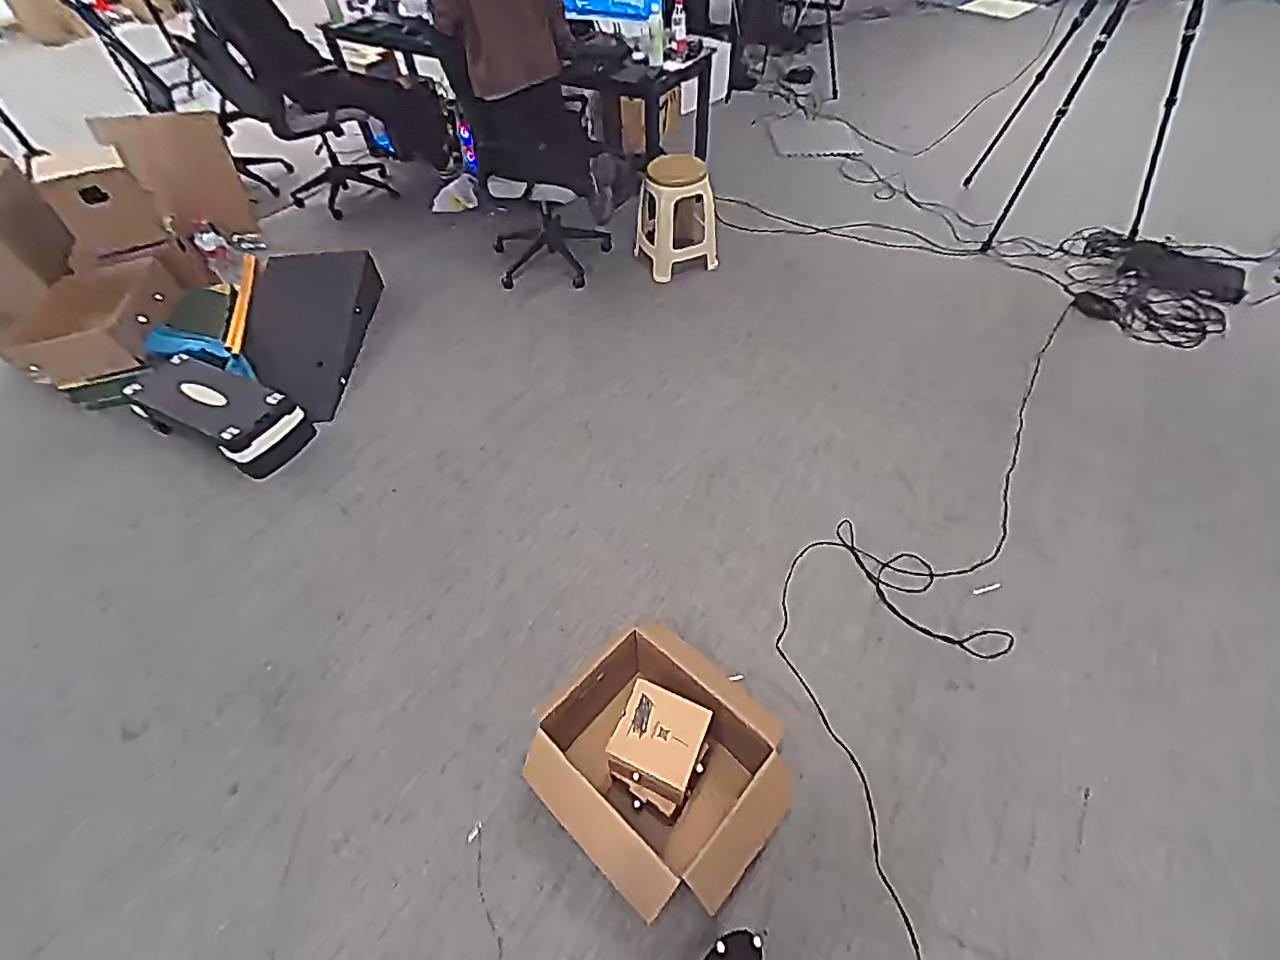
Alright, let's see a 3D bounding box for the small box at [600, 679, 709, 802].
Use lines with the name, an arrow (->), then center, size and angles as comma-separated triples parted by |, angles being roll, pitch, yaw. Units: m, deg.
small box -> 0.035, 0.567, 1.168 | 0.179, 0.176, 0.168 | 21, 56, 19
